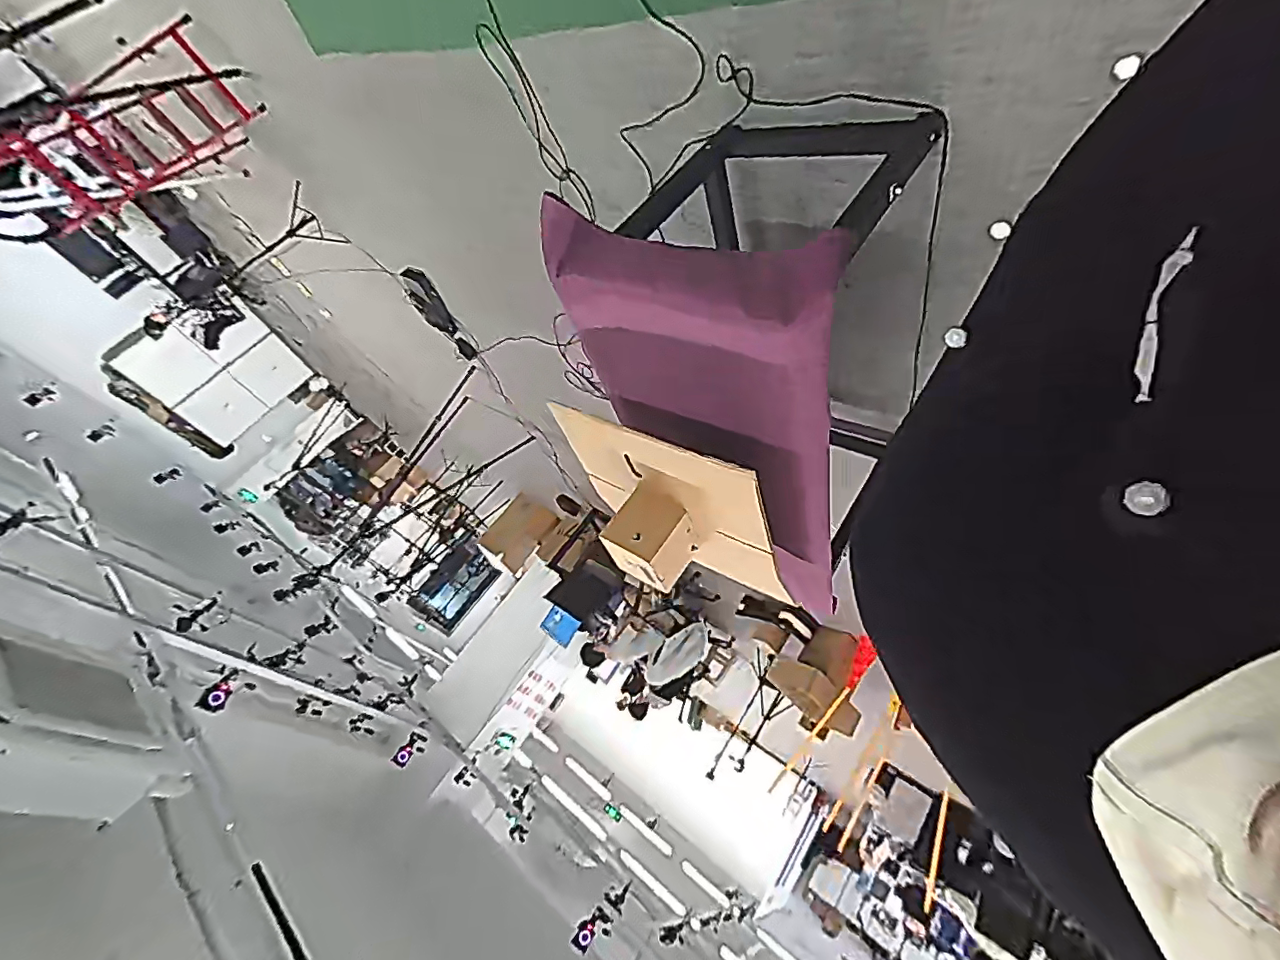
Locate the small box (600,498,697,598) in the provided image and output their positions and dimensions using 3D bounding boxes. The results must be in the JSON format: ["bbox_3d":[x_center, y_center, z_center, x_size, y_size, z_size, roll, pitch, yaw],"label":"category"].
[{"bbox_3d":[0.033,0.173,1.414,0.179,0.176,0.168,23,152,36],"label":"small box"}]
